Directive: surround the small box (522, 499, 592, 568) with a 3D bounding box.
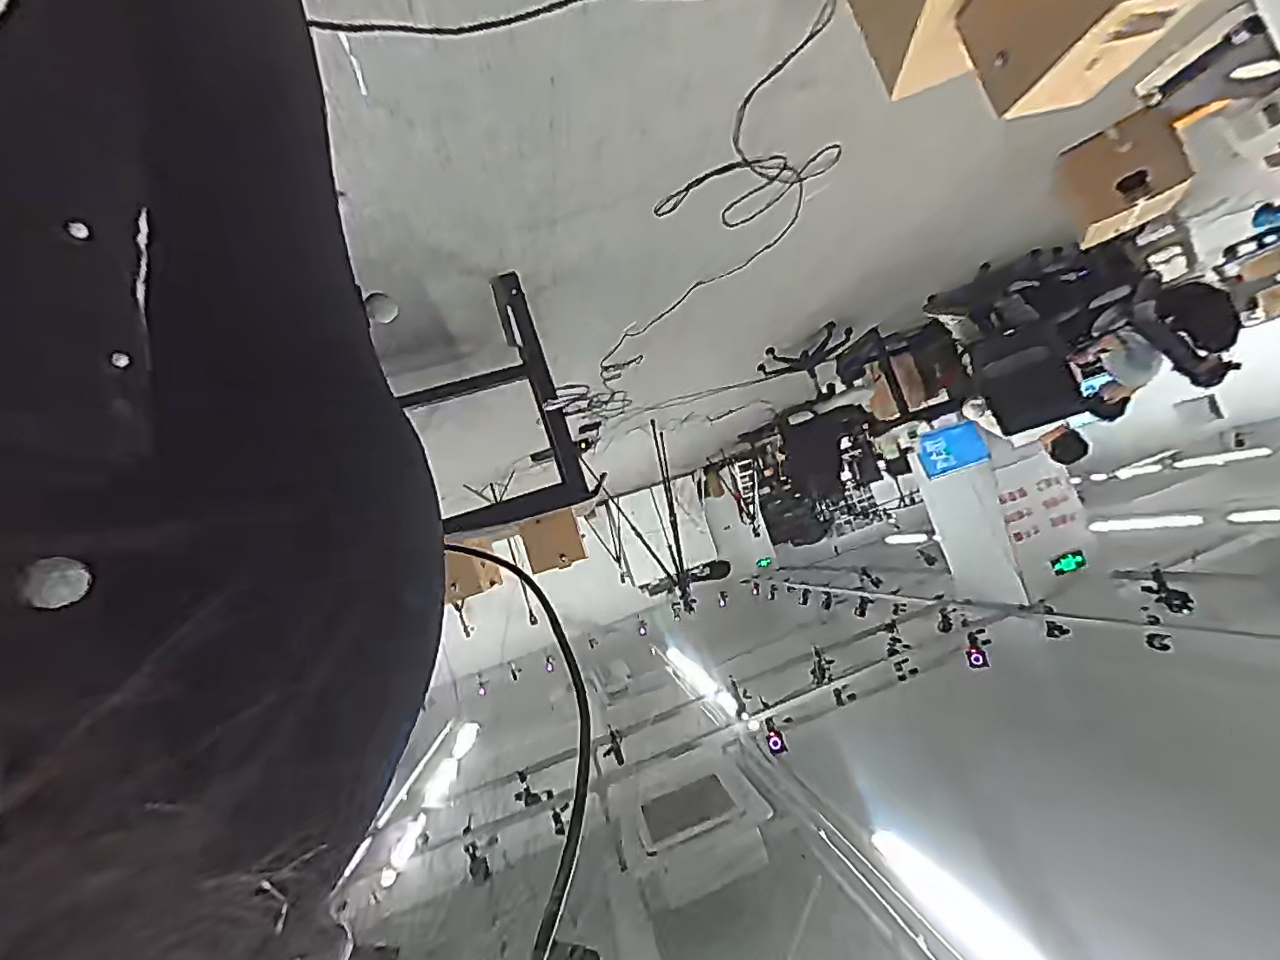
[{"bbox_3d":[-0.251,0.161,1.659,0.168,0.176,0.179,-19,175,-5],"label":"small box"}]

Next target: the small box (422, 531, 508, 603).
[{"bbox_3d":[-0.538,0.260,1.670,0.179,0.176,0.168,-19,174,6],"label":"small box"}]
